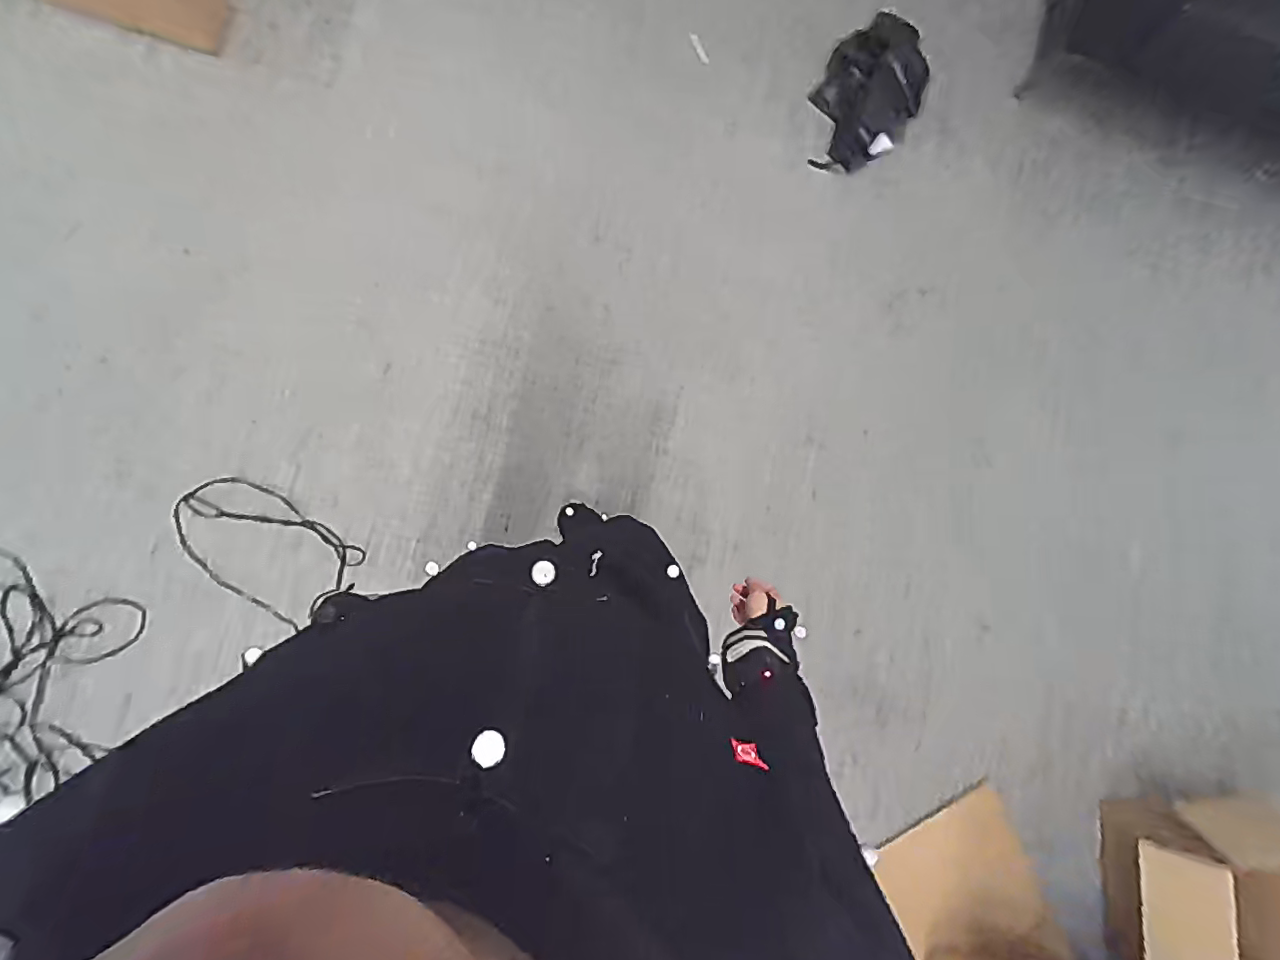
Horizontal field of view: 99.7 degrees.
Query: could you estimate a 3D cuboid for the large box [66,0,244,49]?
[{"bbox_3d":[-1.156,-1.258,1.176,0.408,0.320,0.320,14,85,-8],"label":"large box"}]
